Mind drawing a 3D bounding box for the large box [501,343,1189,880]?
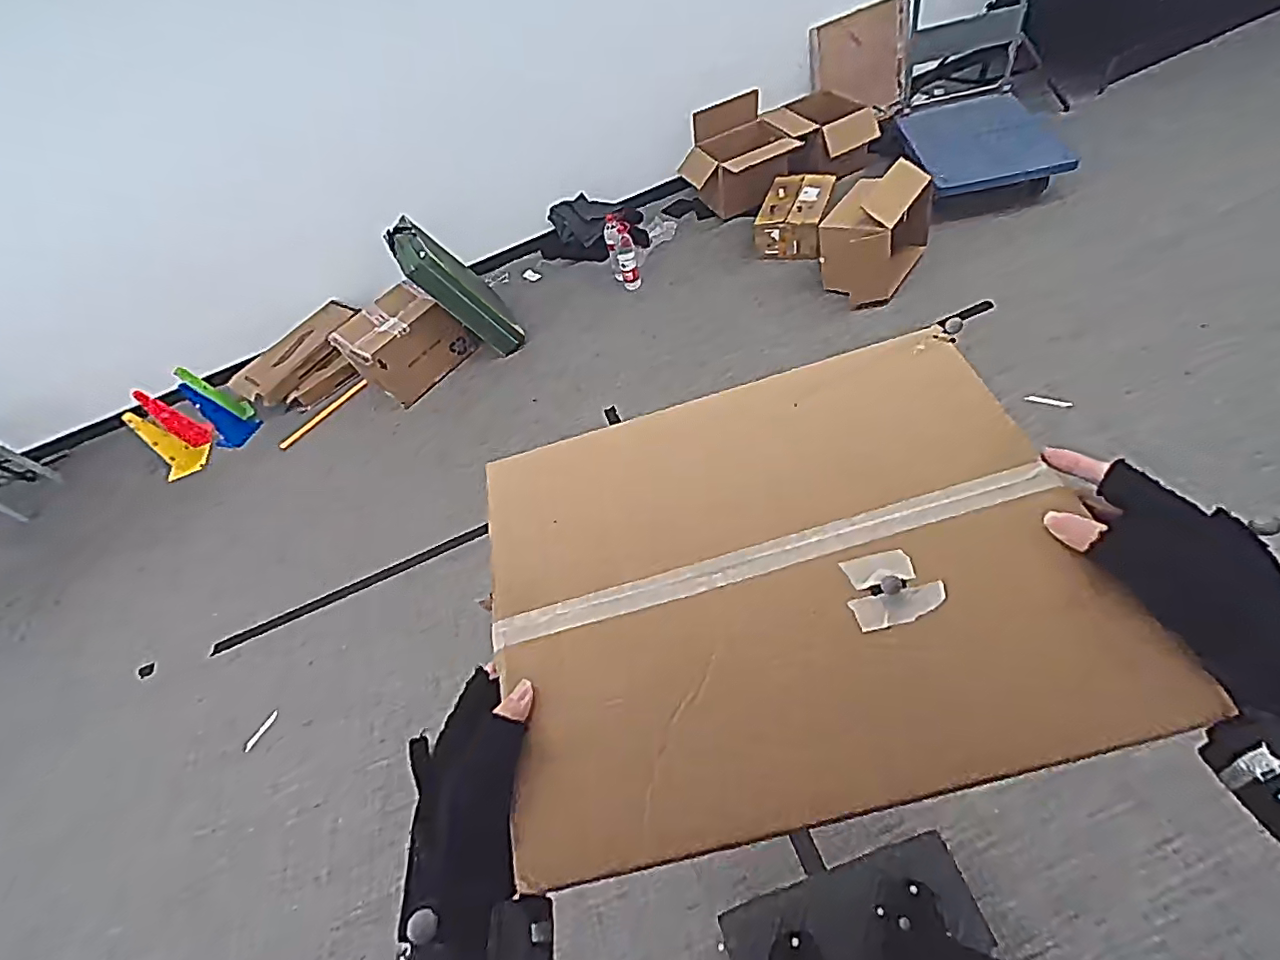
[{"bbox_3d":[0.123,0.137,0.522,0.408,0.320,0.320,-17,58,3],"label":"large box"}]

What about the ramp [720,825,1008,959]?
[{"bbox_3d":[0.549,1.200,0.878,0.509,0.206,0.991,-23,51,-2],"label":"ramp"}]
